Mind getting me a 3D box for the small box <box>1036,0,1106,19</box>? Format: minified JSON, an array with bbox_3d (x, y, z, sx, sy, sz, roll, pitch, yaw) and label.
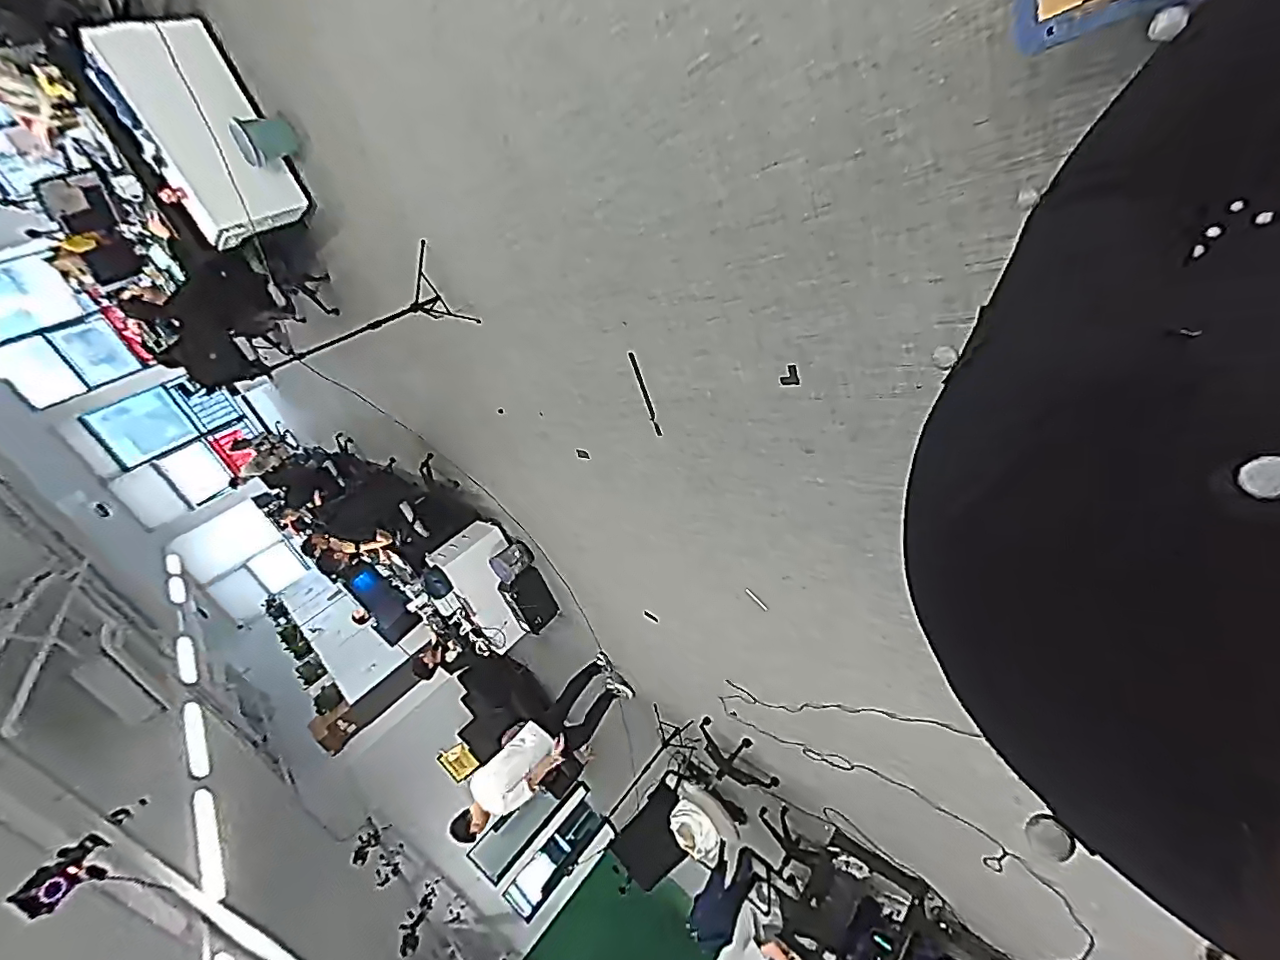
[{"bbox_3d":[0.455,-0.541,0.461,0.168,0.176,0.179,8,129,47],"label":"small box"}]
